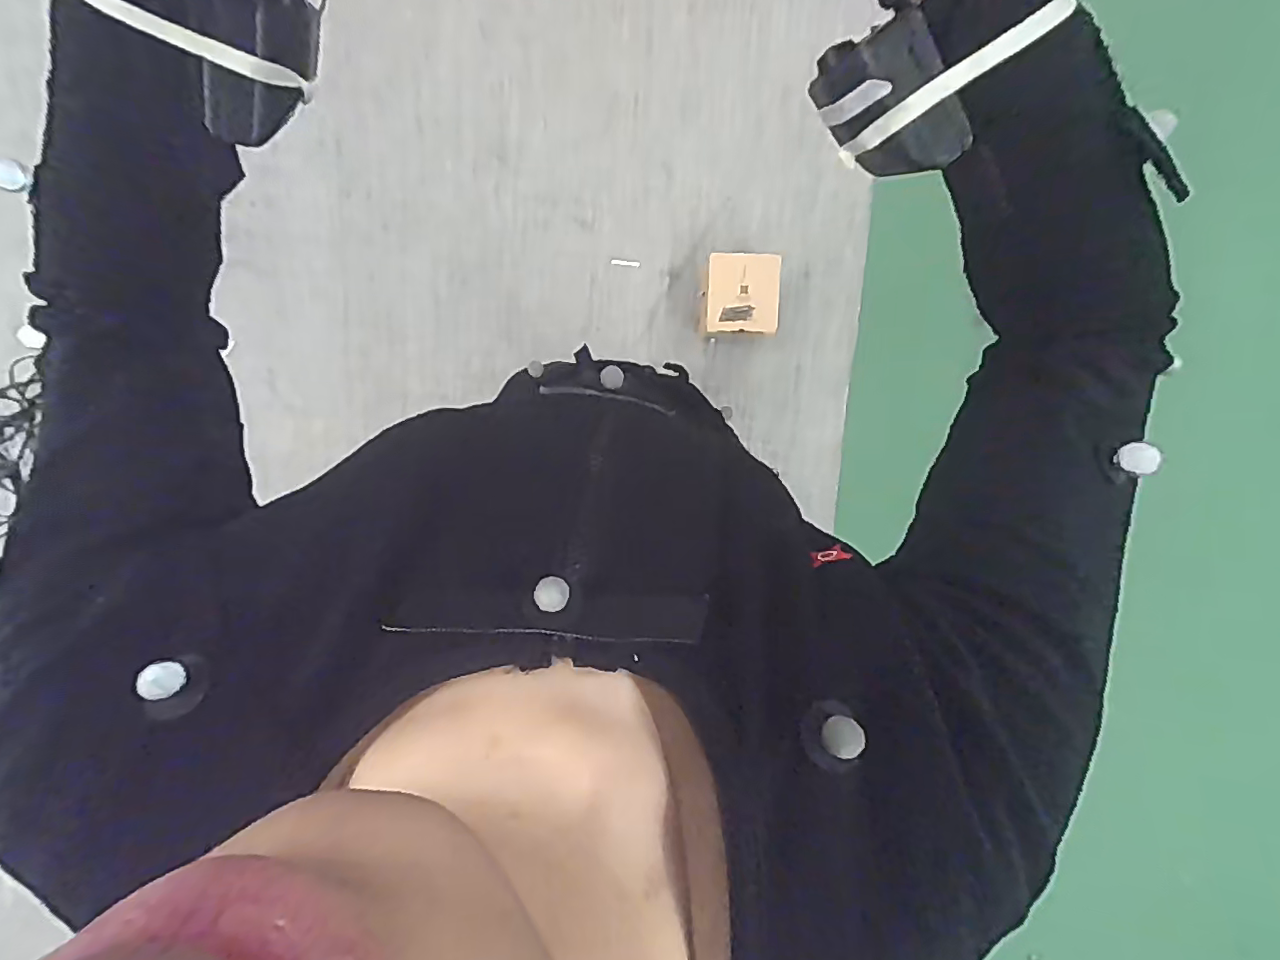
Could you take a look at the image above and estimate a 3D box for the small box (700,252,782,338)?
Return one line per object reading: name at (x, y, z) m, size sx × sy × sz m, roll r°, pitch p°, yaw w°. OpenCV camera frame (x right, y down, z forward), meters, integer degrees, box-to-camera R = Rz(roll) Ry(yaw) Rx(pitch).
small box at (0.236, -0.439, 1.309) m, size 0.168 × 0.176 × 0.179 m, roll 2°, pitch 100°, yaw 0°
